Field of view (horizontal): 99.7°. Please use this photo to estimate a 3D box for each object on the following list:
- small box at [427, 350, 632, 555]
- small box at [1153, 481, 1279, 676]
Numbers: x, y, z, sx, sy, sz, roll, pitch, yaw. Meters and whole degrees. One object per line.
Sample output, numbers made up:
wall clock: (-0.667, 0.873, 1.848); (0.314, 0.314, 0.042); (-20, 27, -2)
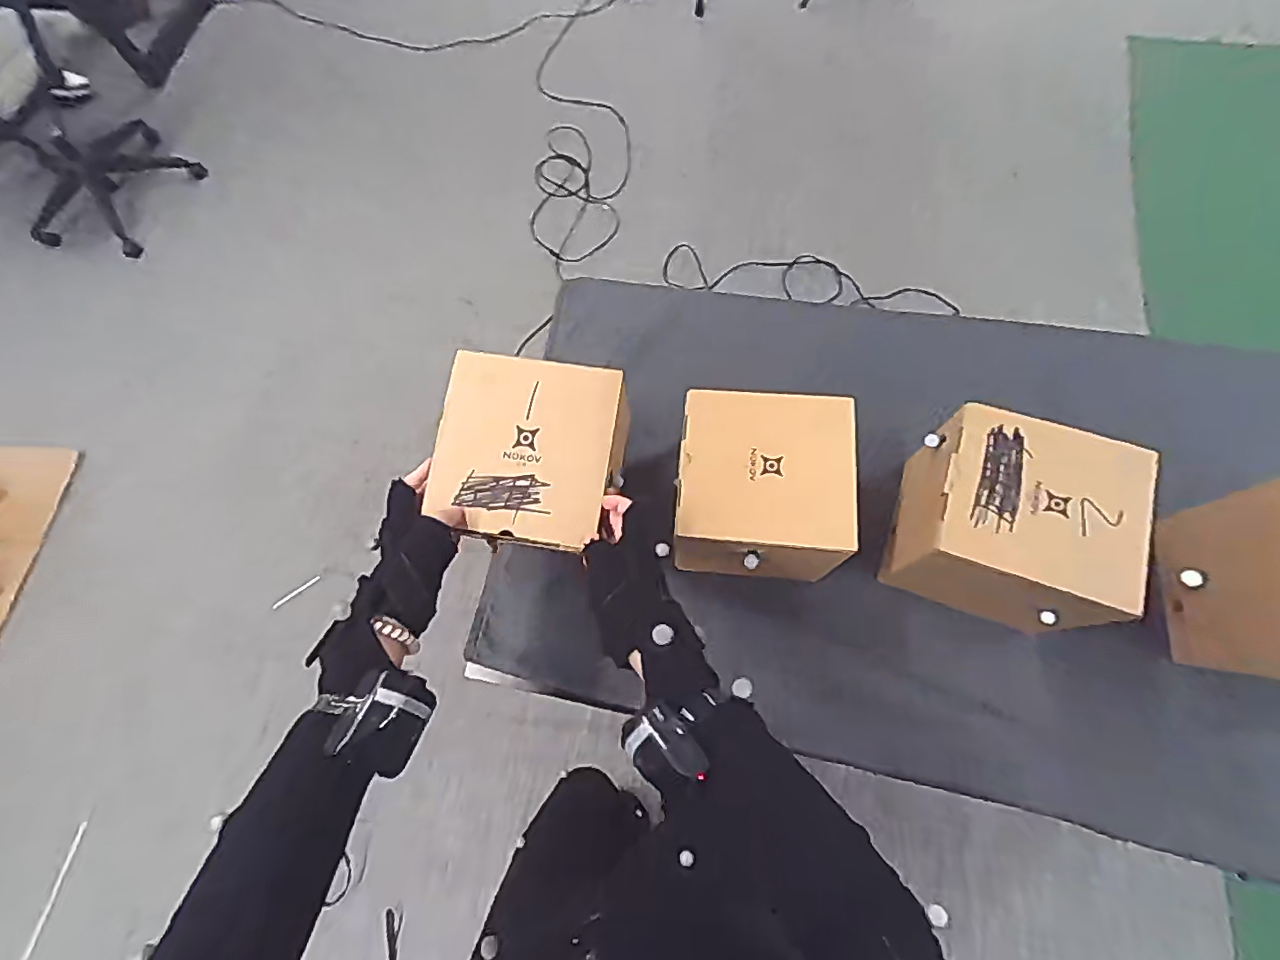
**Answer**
small box: (-0.103, -0.017, 0.591); (0.168, 0.176, 0.179); (9, 79, 4)
small box: (0.674, 0.103, 0.532); (0.179, 0.176, 0.168); (7, 70, 8)
